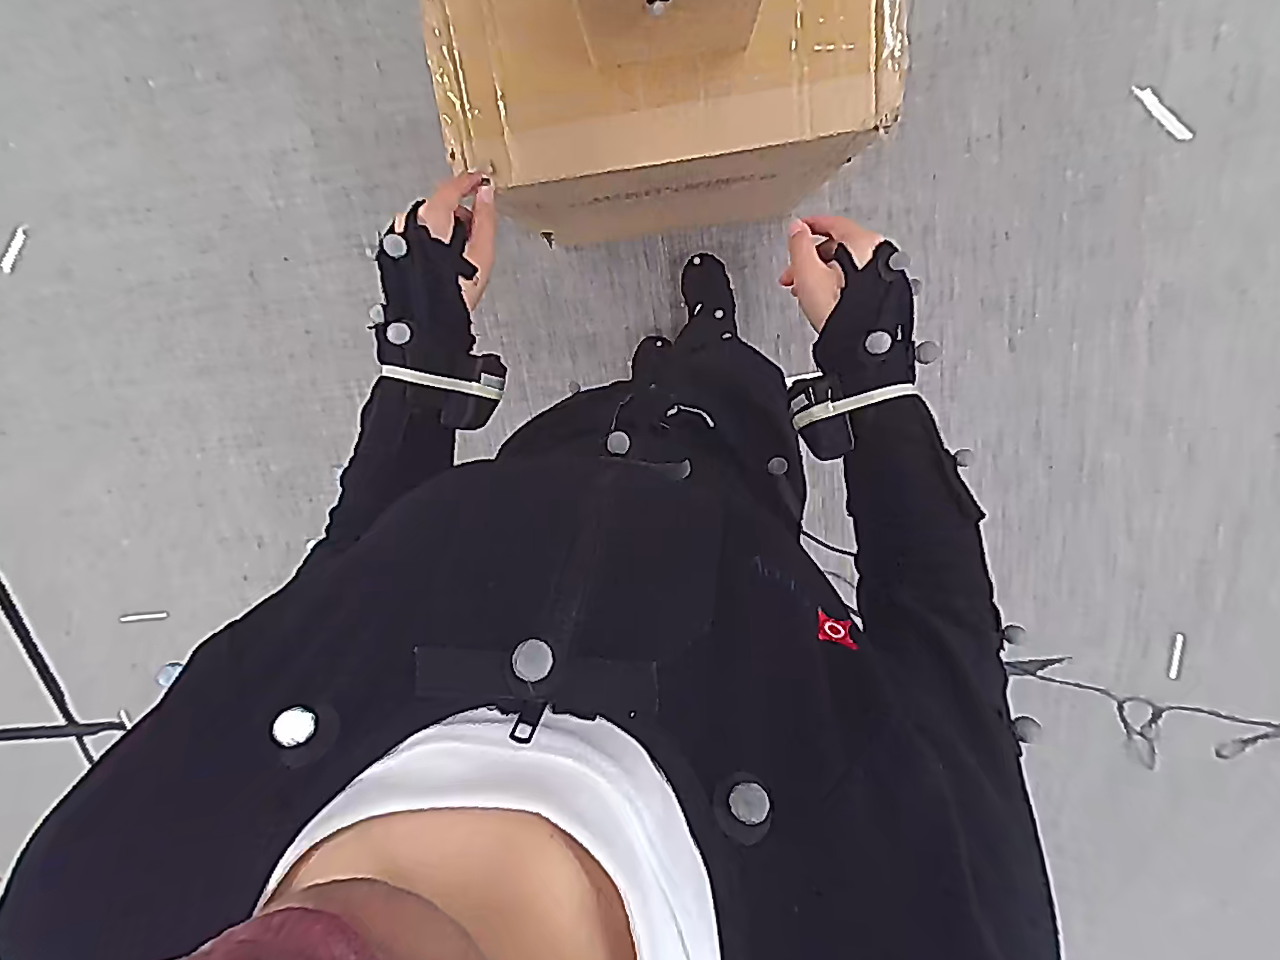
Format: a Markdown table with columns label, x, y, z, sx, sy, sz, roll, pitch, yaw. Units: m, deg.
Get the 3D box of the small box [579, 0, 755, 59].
| label | x | y | z | sx | sy | sz | roll | pitch | yaw |
| --- | --- | --- | --- | --- | --- | --- | --- | --- | --- |
| small box | 0.021 | -0.524 | 0.497 | 0.179 | 0.176 | 0.168 | -5 | 107 | 4 |
